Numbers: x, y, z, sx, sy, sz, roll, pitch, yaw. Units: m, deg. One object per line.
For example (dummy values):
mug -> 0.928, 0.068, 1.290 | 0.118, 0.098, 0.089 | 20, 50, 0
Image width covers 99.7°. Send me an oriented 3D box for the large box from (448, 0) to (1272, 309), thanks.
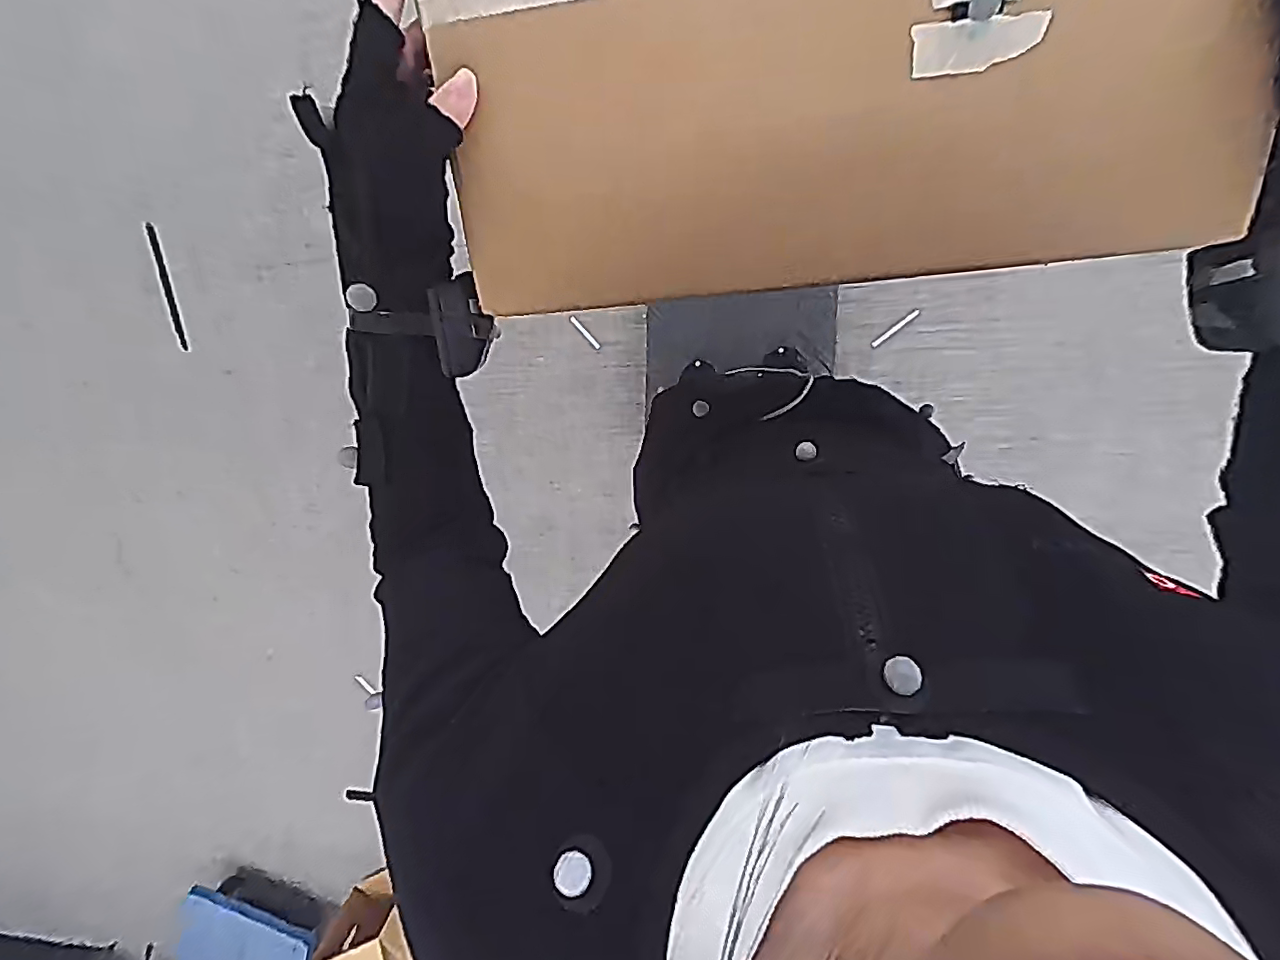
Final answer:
large box -> 0.107, -0.315, 0.401 | 0.408, 0.320, 0.320 | -3, 111, 8
